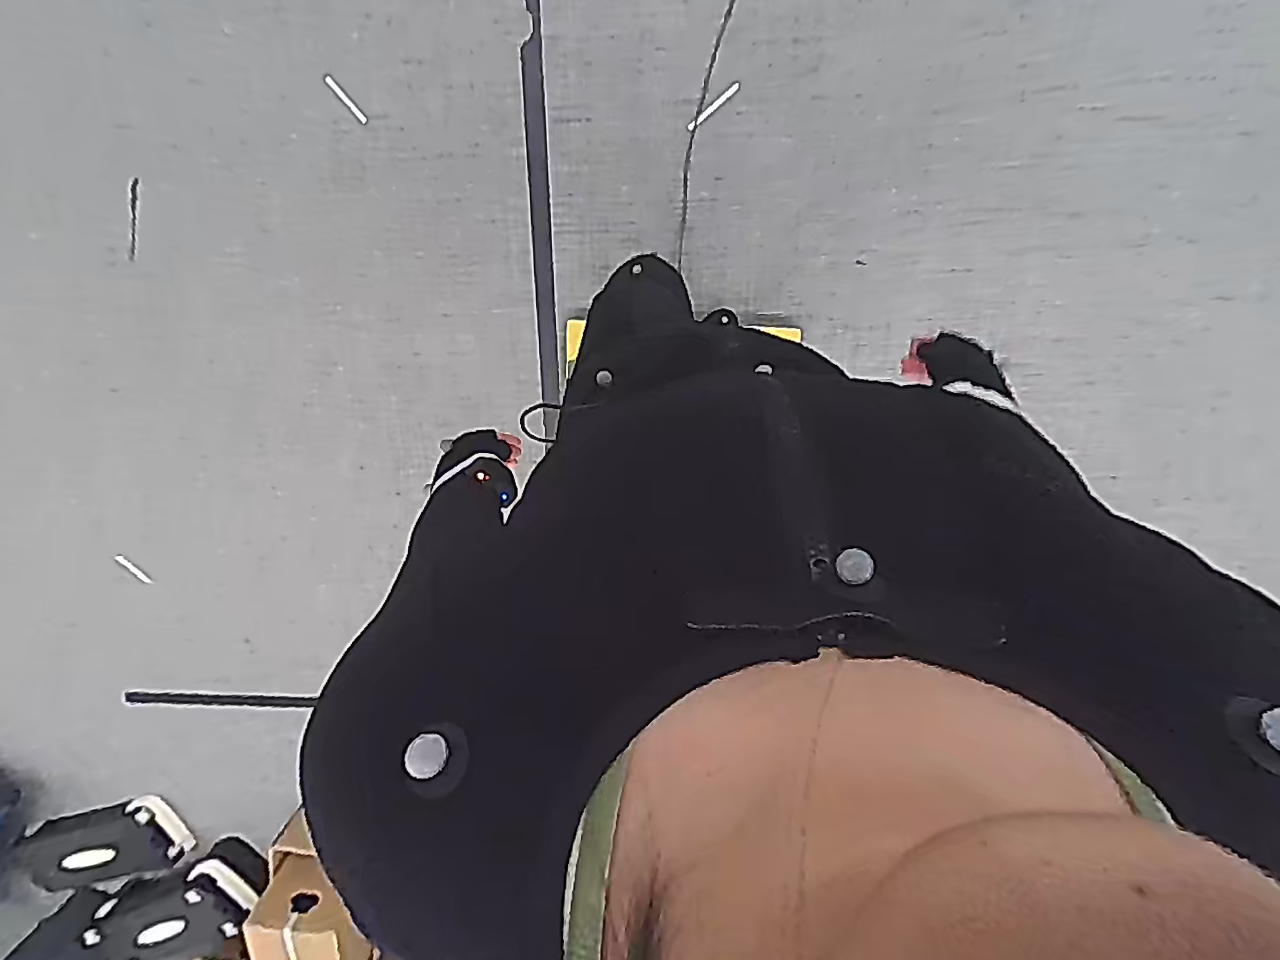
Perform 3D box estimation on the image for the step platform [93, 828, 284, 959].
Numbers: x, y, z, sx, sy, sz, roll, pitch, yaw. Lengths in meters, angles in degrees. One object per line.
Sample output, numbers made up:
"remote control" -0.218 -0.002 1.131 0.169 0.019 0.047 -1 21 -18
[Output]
"step platform" -1.811 1.664 2.168 0.684 0.204 0.286 -27 107 11
